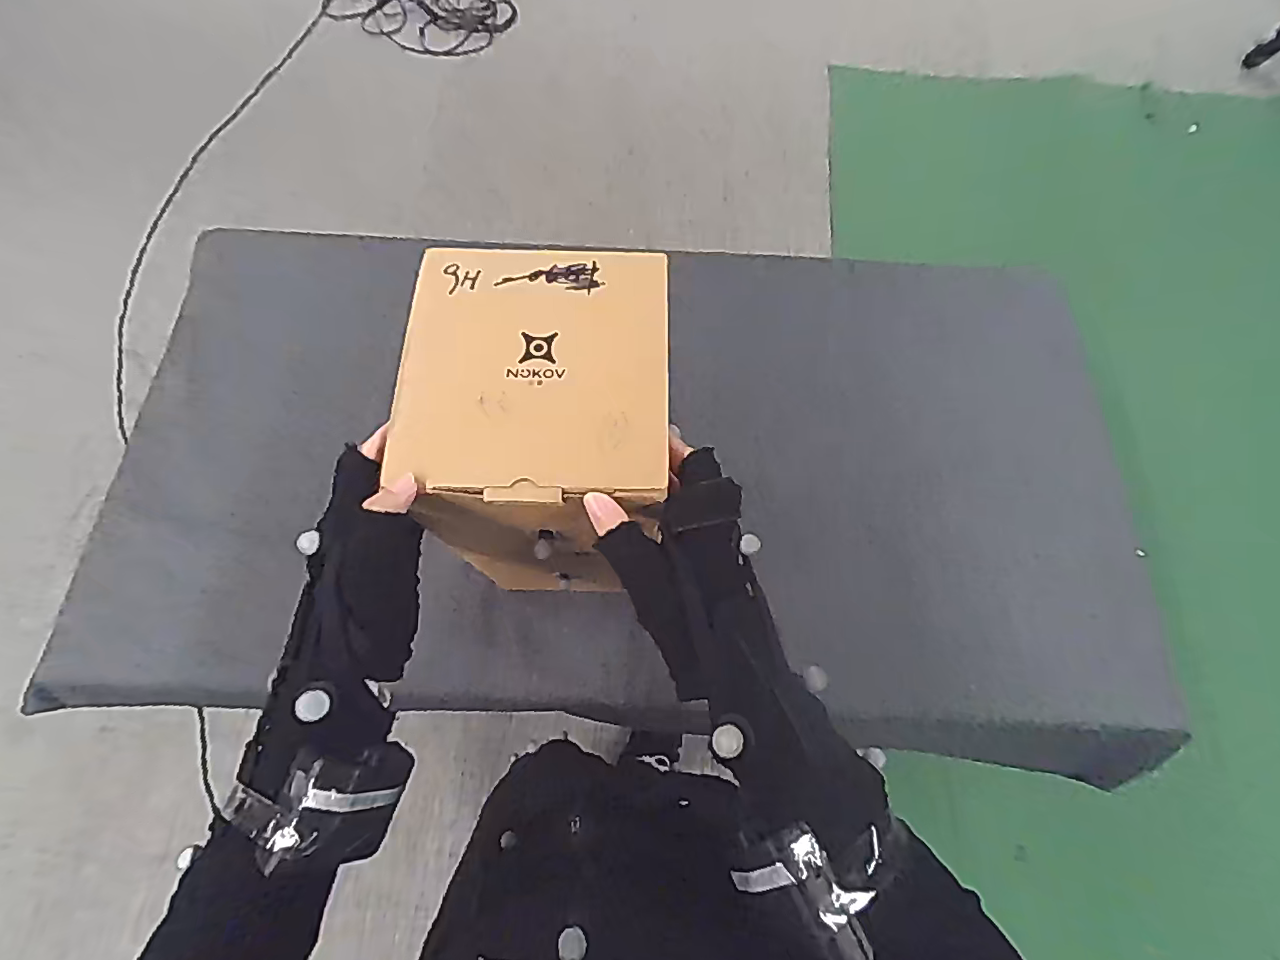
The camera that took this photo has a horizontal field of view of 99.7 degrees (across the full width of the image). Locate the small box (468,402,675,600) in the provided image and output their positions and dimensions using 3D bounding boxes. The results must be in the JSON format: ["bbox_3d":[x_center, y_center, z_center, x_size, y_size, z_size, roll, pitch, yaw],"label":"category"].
[{"bbox_3d":[-0.063,0.028,0.556,0.179,0.176,0.168,-1,69,-3],"label":"small box"}]

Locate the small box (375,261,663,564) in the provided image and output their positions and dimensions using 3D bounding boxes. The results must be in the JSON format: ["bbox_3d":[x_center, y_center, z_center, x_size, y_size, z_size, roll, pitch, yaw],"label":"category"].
[{"bbox_3d":[-0.068,-0.036,0.406,0.168,0.176,0.179,1,70,-1],"label":"small box"}]
